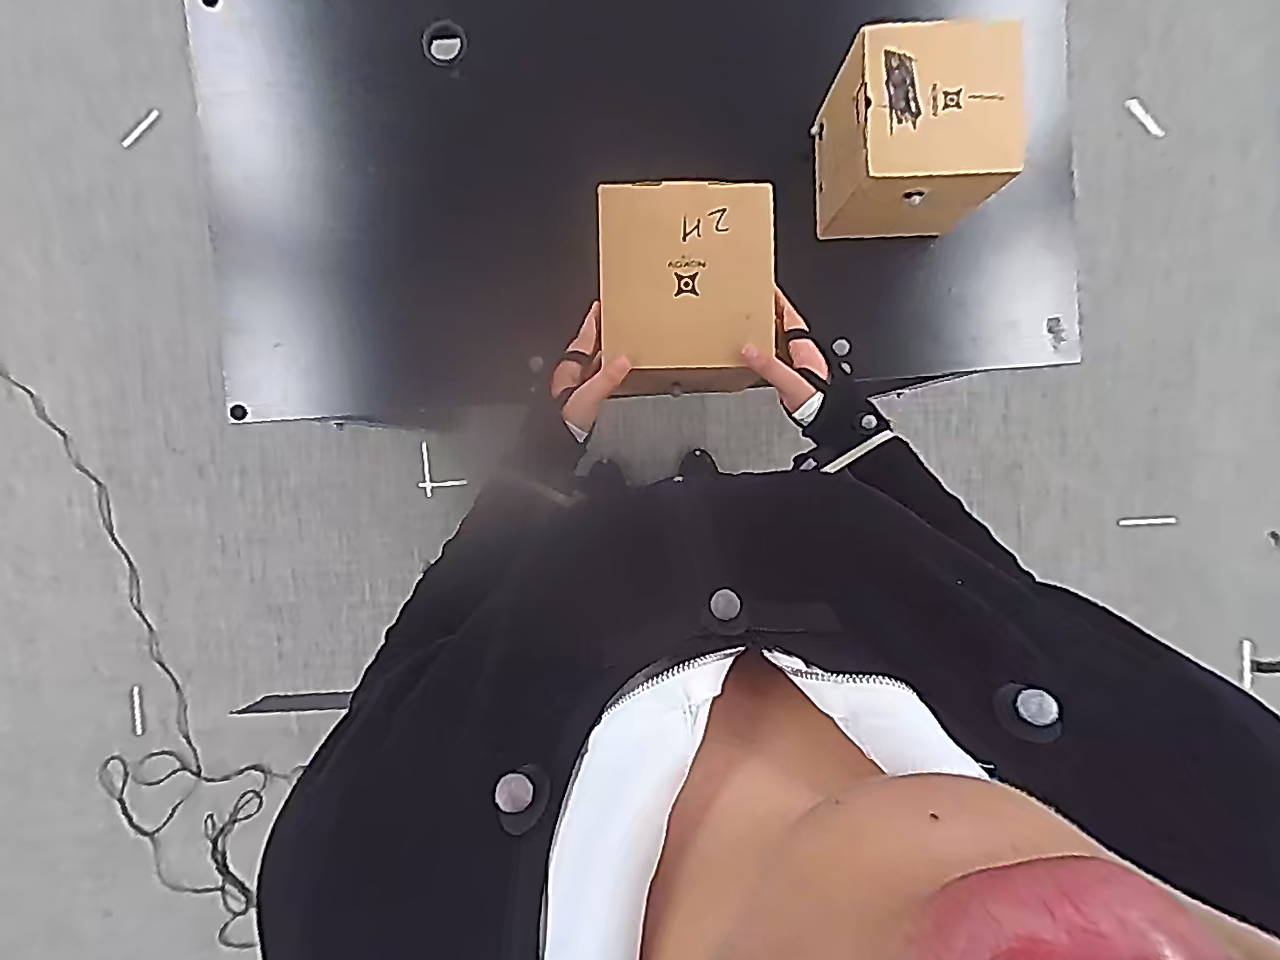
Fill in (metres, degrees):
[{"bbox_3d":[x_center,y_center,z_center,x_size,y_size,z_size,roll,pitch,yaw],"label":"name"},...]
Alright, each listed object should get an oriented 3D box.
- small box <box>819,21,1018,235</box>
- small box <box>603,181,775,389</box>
[{"bbox_3d":[0.332,-0.424,0.679,0.179,0.176,0.168,-2,92,0],"label":"small box"},{"bbox_3d":[0.045,-0.198,0.596,0.168,0.176,0.179,0,90,-2],"label":"small box"}]
